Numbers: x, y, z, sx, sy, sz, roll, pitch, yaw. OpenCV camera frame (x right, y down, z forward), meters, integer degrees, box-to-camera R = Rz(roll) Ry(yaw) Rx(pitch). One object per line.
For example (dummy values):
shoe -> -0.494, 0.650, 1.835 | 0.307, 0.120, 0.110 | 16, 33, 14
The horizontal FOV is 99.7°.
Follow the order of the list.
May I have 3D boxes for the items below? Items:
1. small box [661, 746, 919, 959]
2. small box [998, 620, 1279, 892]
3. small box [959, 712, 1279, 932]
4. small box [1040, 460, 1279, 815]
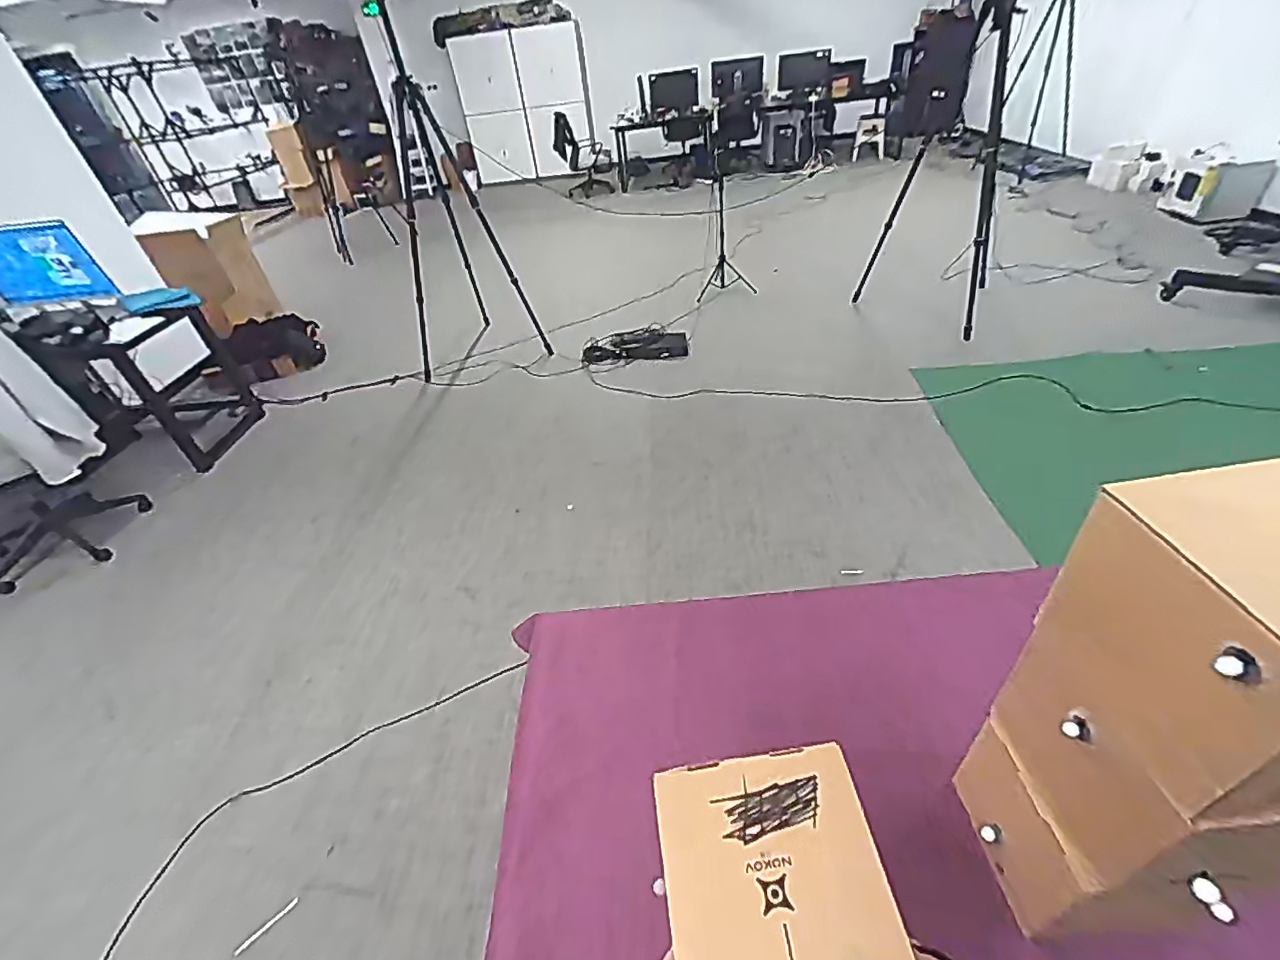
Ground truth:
small box -> 0.117, 0.358, 0.464 | 0.168, 0.176, 0.179 | -11, 46, 2
small box -> 0.467, 0.238, 0.489 | 0.168, 0.176, 0.179 | -8, 39, 3
small box -> 0.488, 0.365, 0.588 | 0.179, 0.176, 0.168 | -7, 38, 3
small box -> 0.444, 0.109, 0.393 | 0.168, 0.176, 0.179 | -9, 39, 1
